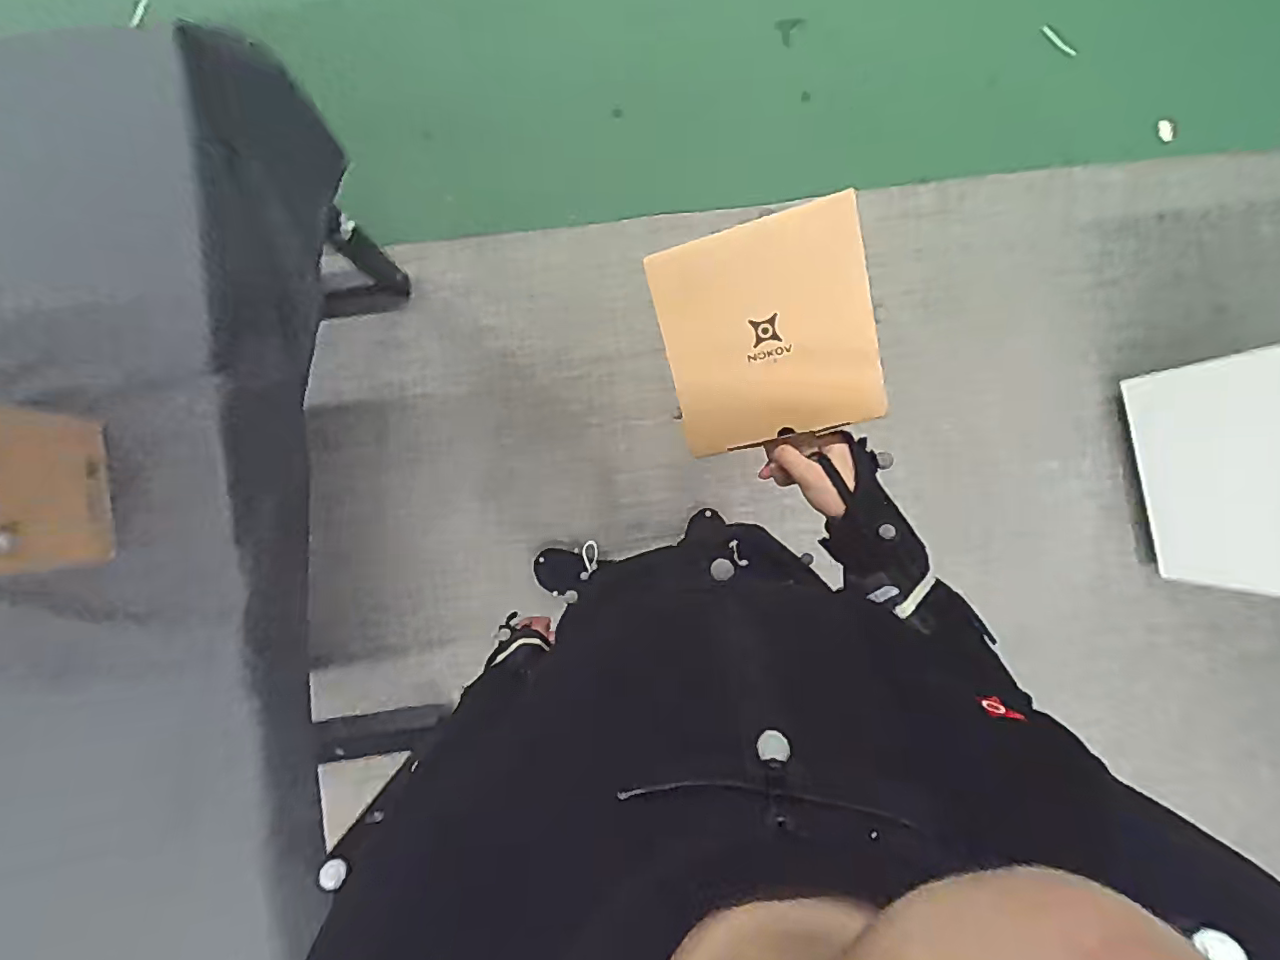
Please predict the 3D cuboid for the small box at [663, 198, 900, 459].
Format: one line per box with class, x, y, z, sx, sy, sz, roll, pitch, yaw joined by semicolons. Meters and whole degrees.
small box;0.127;-0.136;0.512;0.168;0.176;0.179;-11;105;14
